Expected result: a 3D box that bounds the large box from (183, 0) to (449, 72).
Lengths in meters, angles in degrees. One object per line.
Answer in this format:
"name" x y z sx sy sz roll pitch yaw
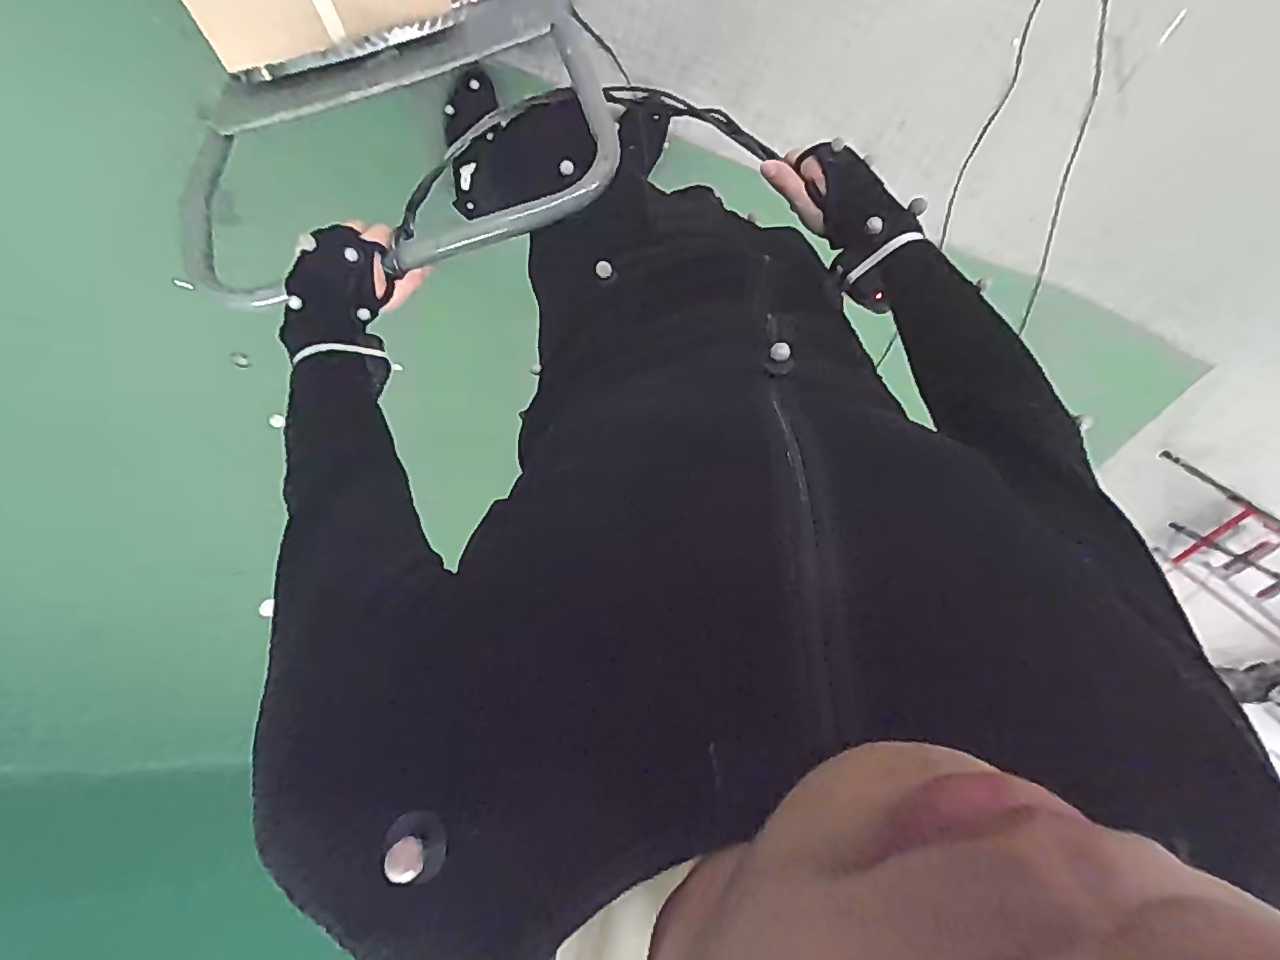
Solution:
"large box" -0.465 -0.811 0.651 0.320 0.320 0.408 -17 143 -1
